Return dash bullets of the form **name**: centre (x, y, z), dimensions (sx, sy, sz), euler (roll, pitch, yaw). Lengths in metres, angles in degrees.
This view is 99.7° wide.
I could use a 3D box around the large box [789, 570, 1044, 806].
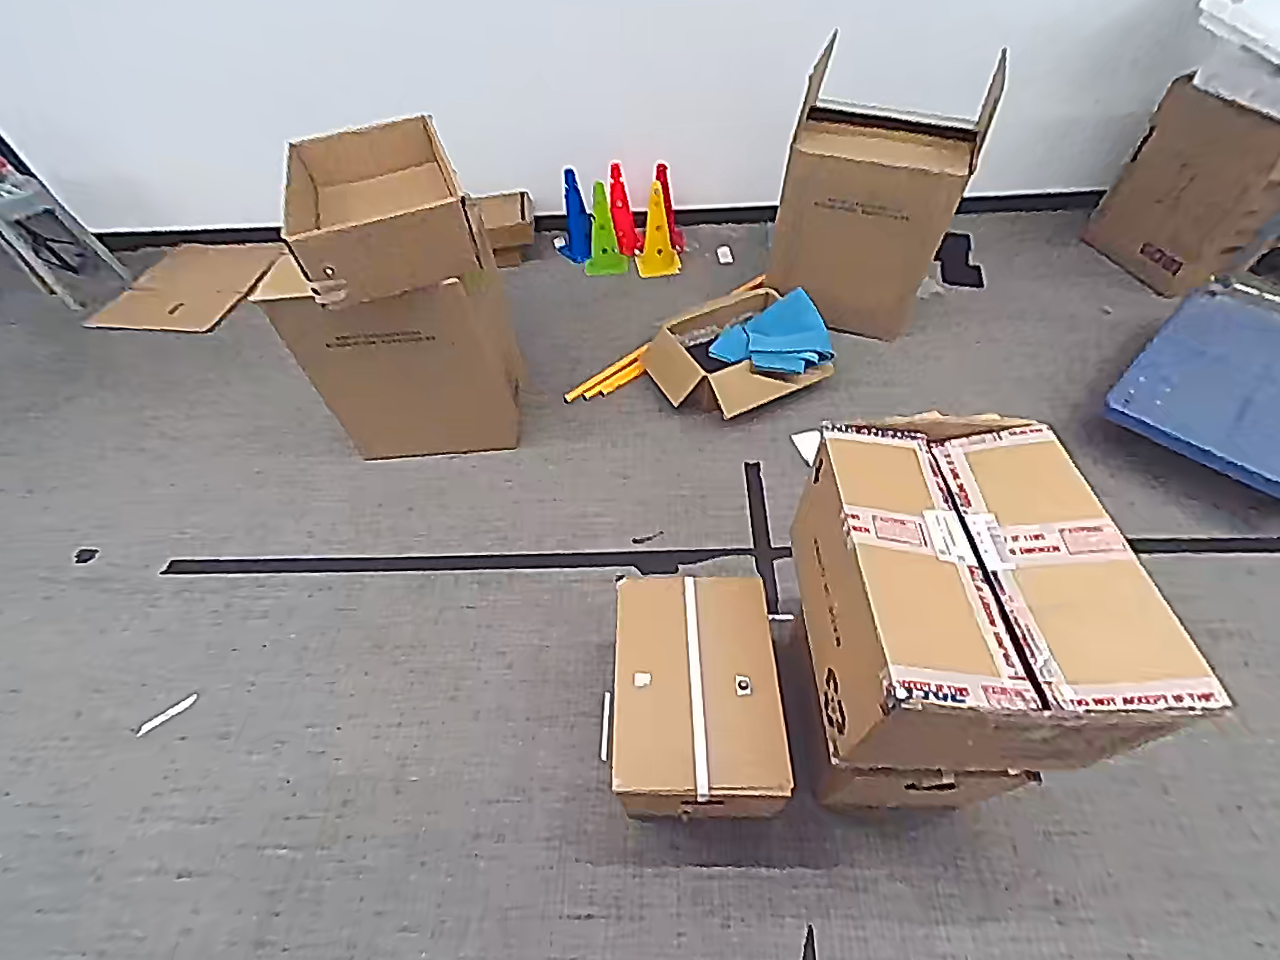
- **large box**: centre (0.530, 0.442, 1.149), dimensions (0.320, 0.320, 0.408), euler (-2, 52, 2)
